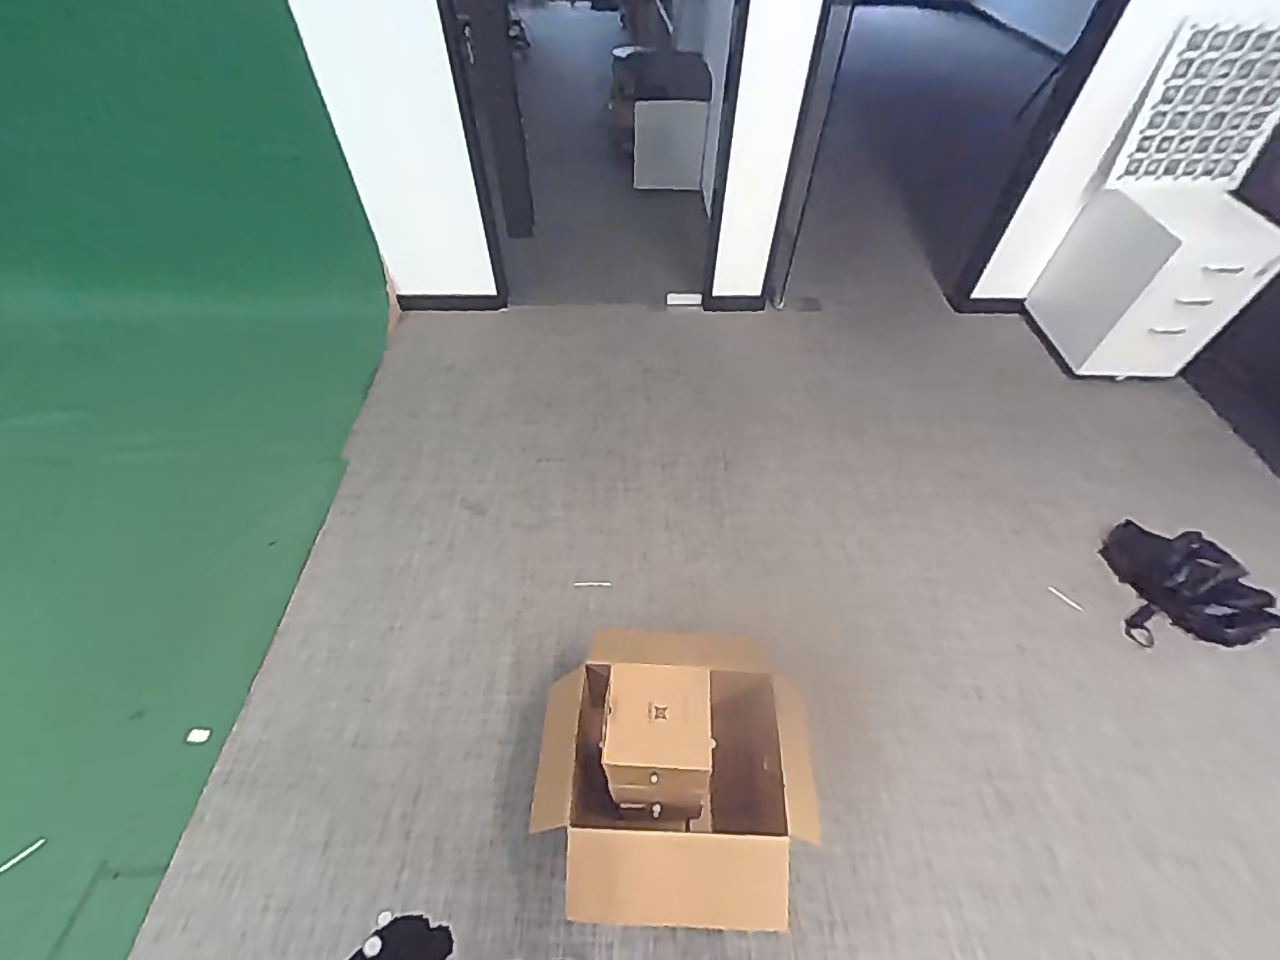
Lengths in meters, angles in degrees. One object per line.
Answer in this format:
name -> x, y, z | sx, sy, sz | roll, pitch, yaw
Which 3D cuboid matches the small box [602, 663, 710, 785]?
small box -> 0.030, 0.441, 0.973 | 0.179, 0.176, 0.168 | 1, 52, 2
